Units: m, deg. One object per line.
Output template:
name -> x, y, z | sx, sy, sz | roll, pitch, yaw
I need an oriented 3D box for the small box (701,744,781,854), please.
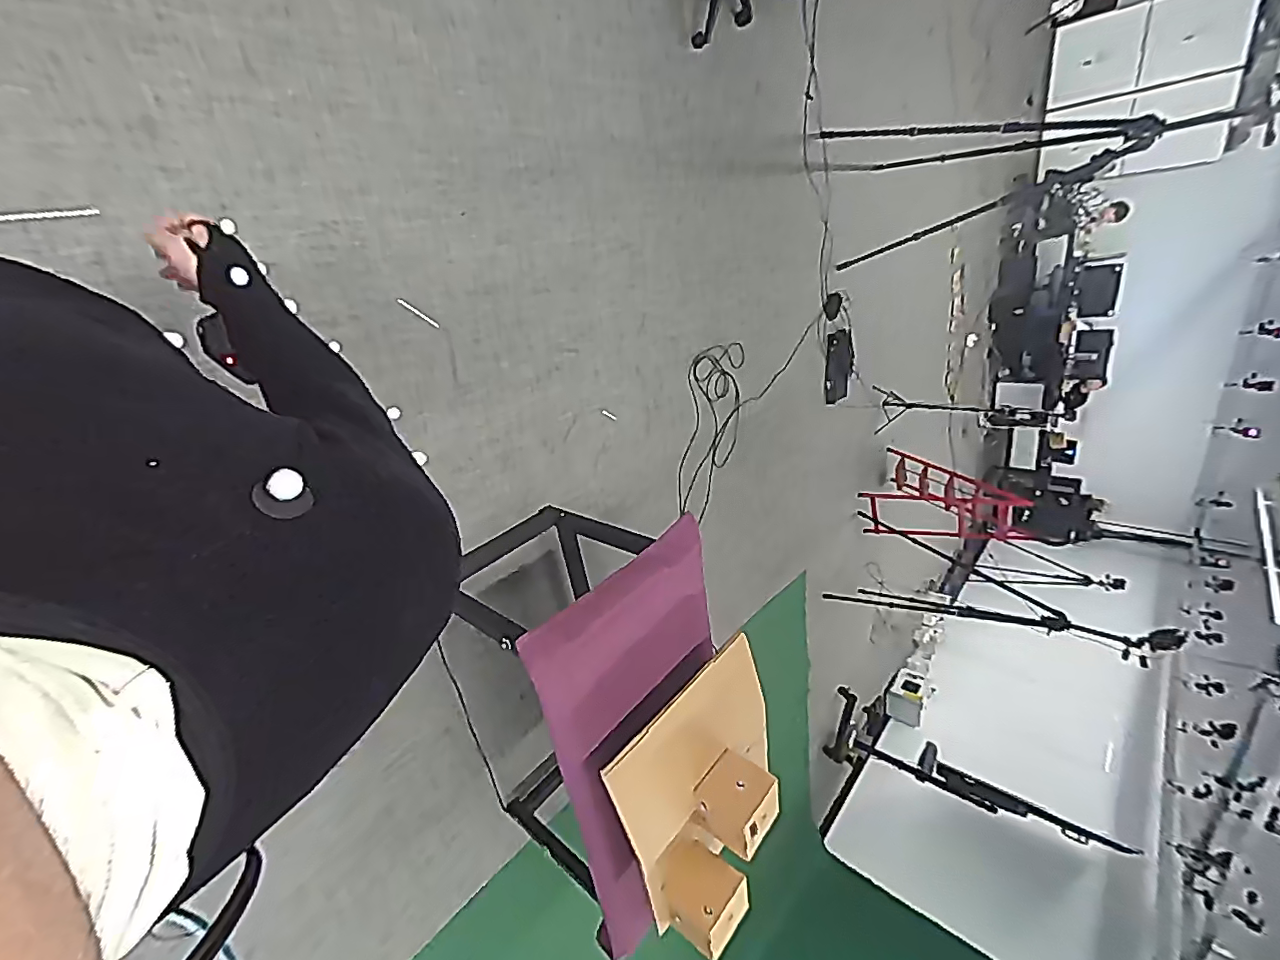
small box -> 0.289, 0.918, 1.568 | 0.179, 0.176, 0.168 | -34, 126, -38

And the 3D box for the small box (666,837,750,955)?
small box -> 0.197, 1.182, 1.552 | 0.179, 0.176, 0.168 | -32, 125, -37
